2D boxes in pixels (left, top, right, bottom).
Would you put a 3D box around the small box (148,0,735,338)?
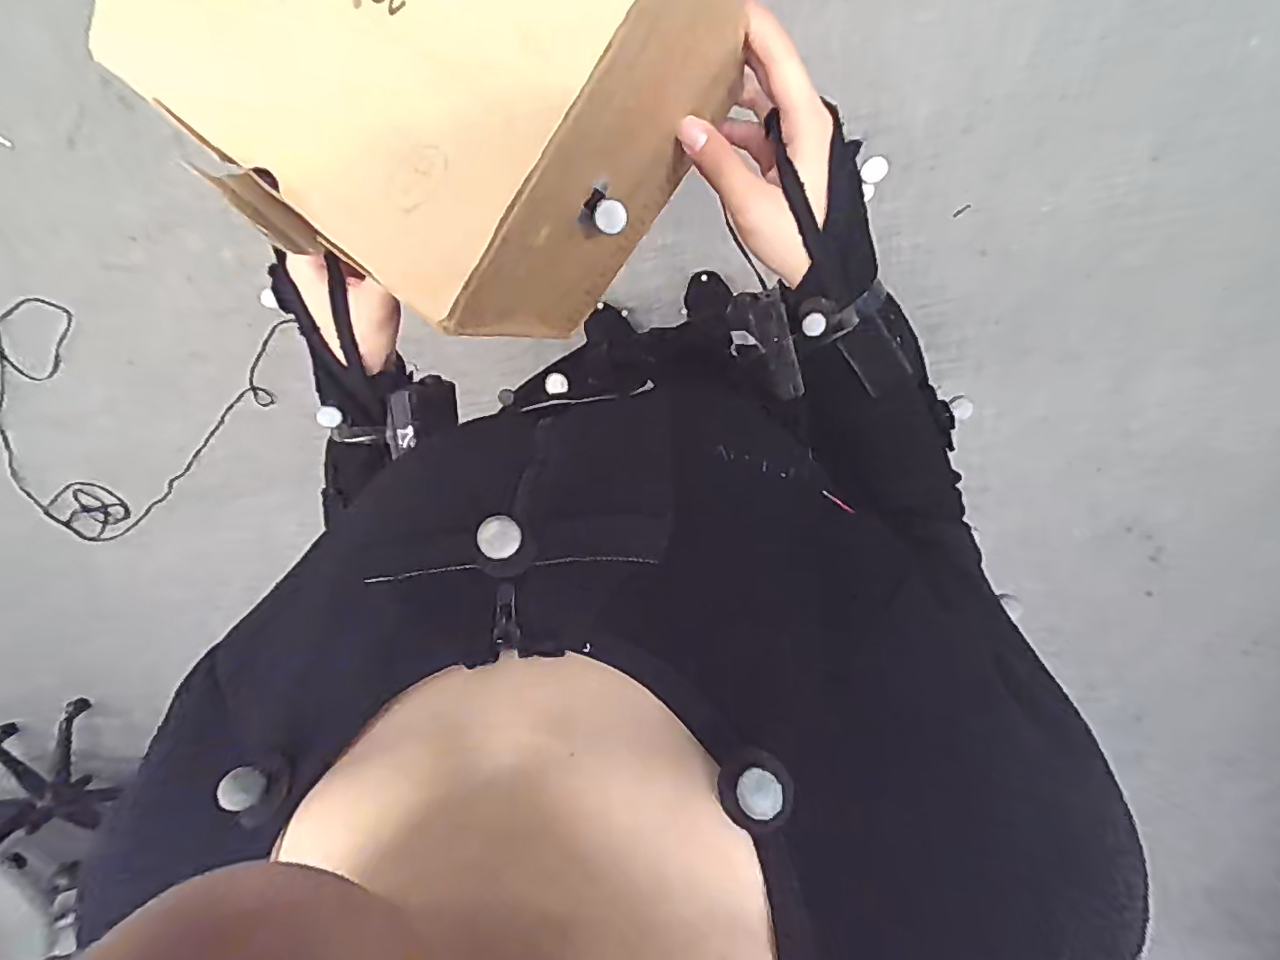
[{"bbox_3d":[-0.065,-0.187,0.263,0.168,0.176,0.179,38,107,-1],"label":"small box"}]
